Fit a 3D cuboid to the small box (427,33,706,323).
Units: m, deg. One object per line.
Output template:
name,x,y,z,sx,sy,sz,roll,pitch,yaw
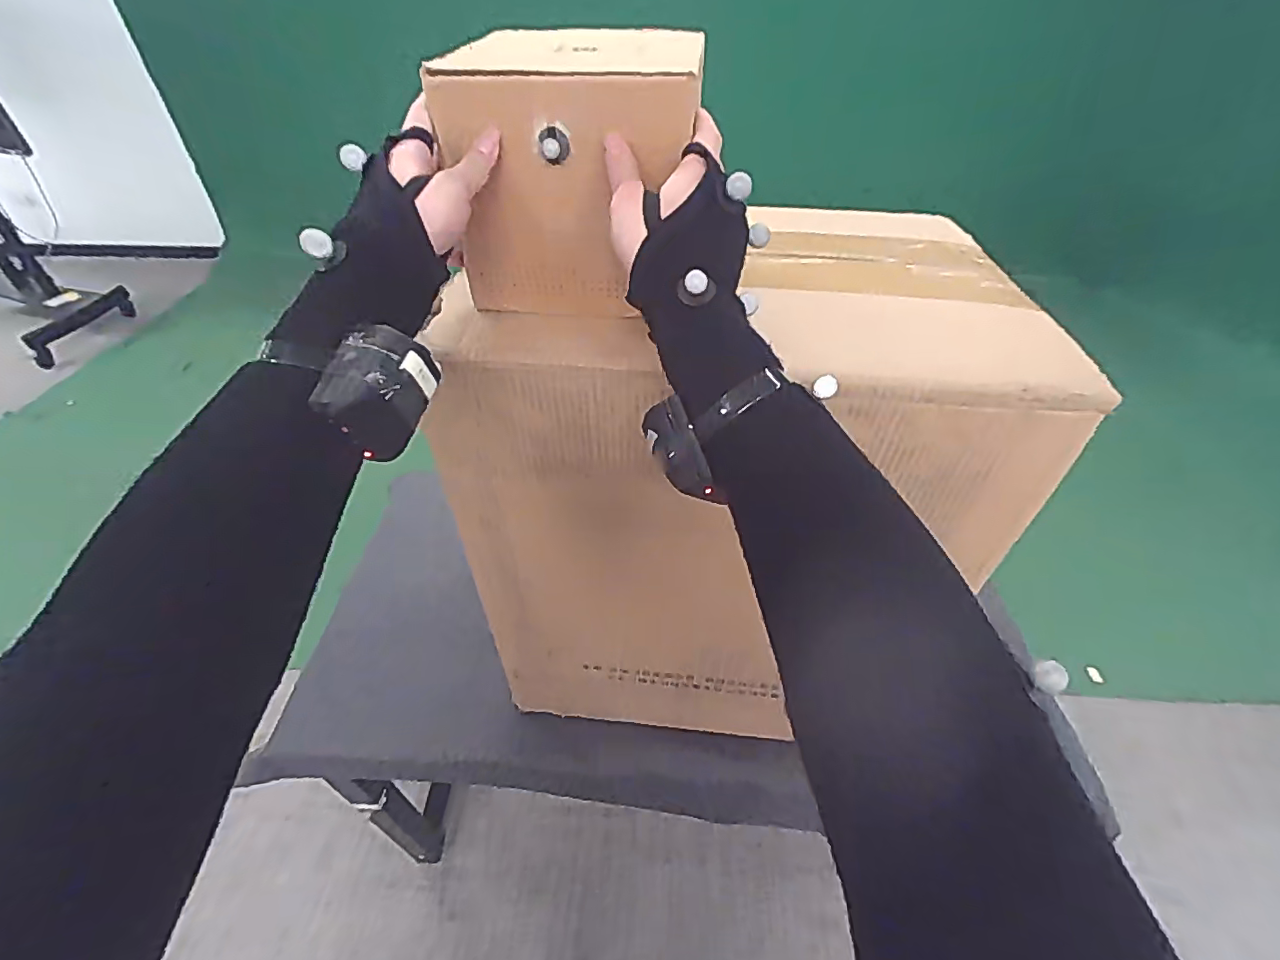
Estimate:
small box,-0.042,-0.246,0.446,0.179,0.176,0.168,6,47,3
